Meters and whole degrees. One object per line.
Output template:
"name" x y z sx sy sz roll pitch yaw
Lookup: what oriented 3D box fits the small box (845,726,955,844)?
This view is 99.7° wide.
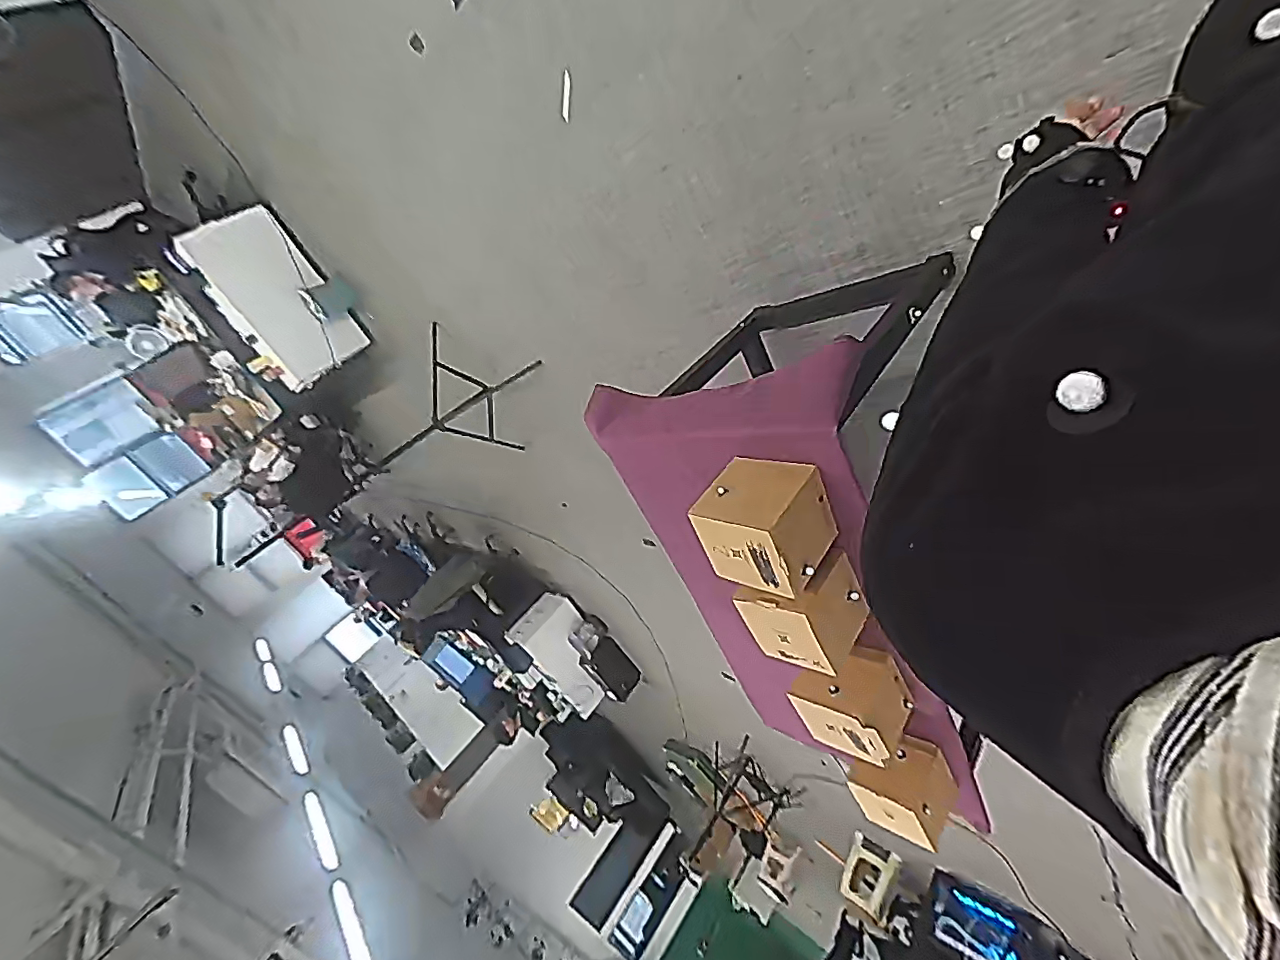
"small box" 0.635 0.720 1.310 0.168 0.176 0.179 -1 128 52

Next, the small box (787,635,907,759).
"small box" 0.465 0.468 1.192 0.179 0.176 0.168 -2 128 52
